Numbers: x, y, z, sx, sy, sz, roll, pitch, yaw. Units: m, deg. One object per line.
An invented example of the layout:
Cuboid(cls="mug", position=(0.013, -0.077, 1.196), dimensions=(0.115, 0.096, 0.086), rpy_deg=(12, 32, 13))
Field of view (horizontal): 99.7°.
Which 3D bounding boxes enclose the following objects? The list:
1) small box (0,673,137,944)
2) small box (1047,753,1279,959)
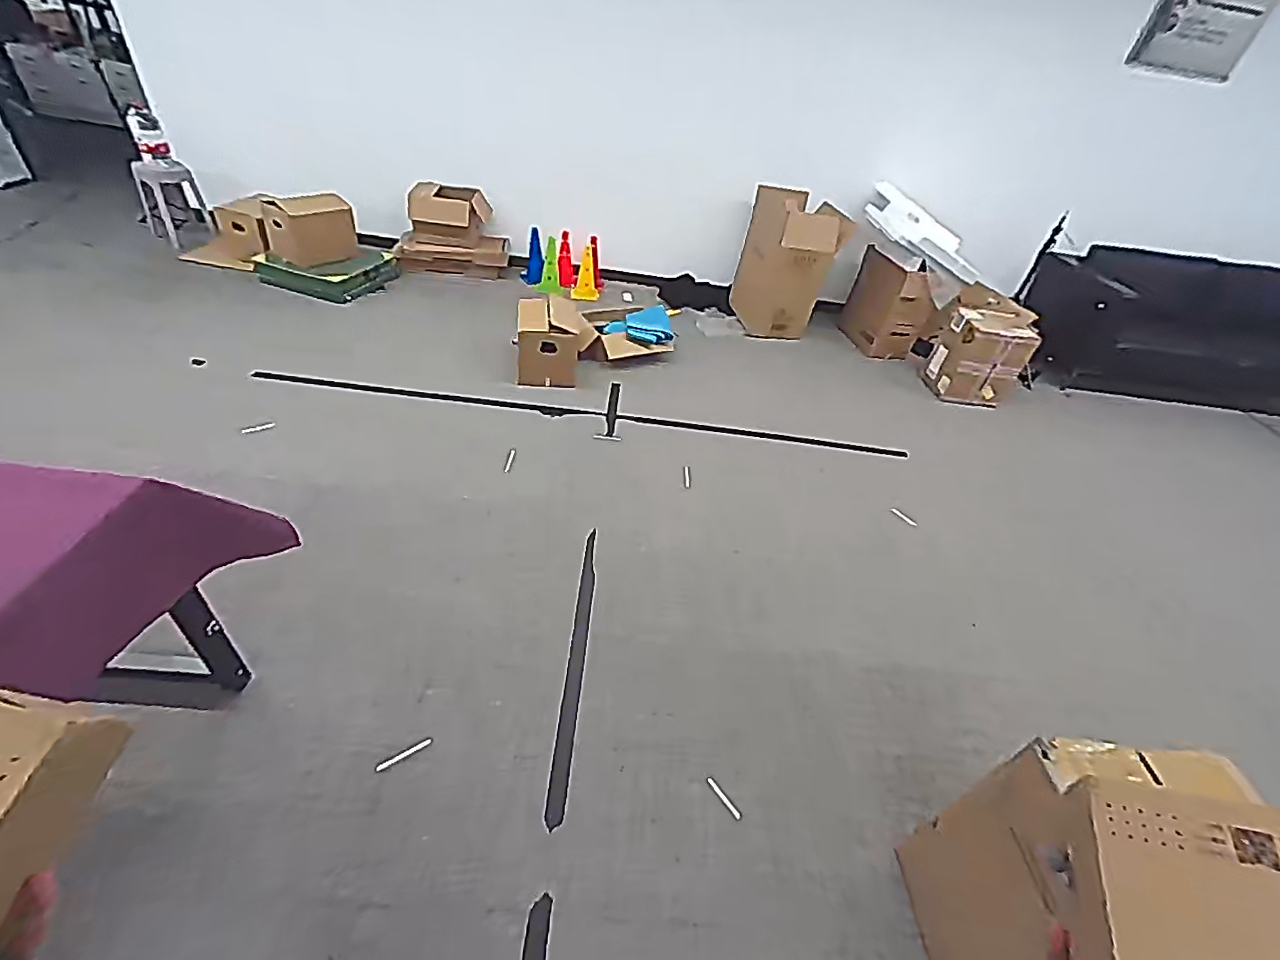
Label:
Cuboid(cls="small box", position=(-0.366, 0.158, 0.226), dimensions=(0.168, 0.179, 0.176), rpy_deg=(26, 57, -22))
Cuboid(cls="small box", position=(0.327, 0.254, 0.276), dimensions=(0.168, 0.179, 0.176), rpy_deg=(-4, 56, 29))
